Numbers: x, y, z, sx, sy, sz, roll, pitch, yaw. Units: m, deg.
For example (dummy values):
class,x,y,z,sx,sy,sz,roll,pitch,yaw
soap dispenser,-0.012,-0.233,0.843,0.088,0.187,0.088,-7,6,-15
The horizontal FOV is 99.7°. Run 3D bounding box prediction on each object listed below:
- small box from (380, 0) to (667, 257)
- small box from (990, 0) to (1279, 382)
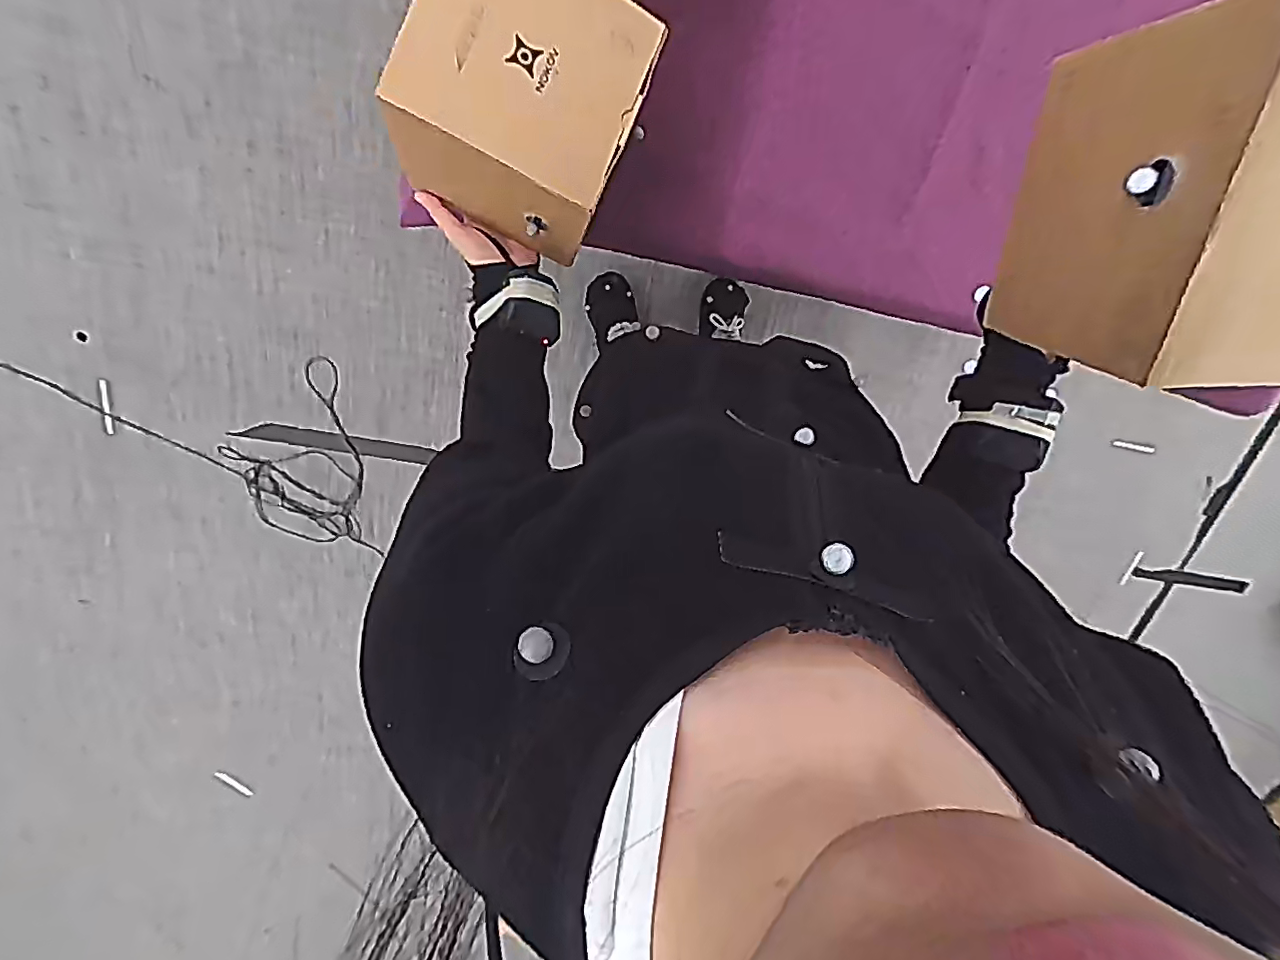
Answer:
class,x,y,z,sx,sy,sz,roll,pitch,yaw
small box,-0.103,-0.329,0.495,0.179,0.176,0.168,22,90,-15
small box,0.353,-0.167,0.328,0.168,0.176,0.179,0,118,2
